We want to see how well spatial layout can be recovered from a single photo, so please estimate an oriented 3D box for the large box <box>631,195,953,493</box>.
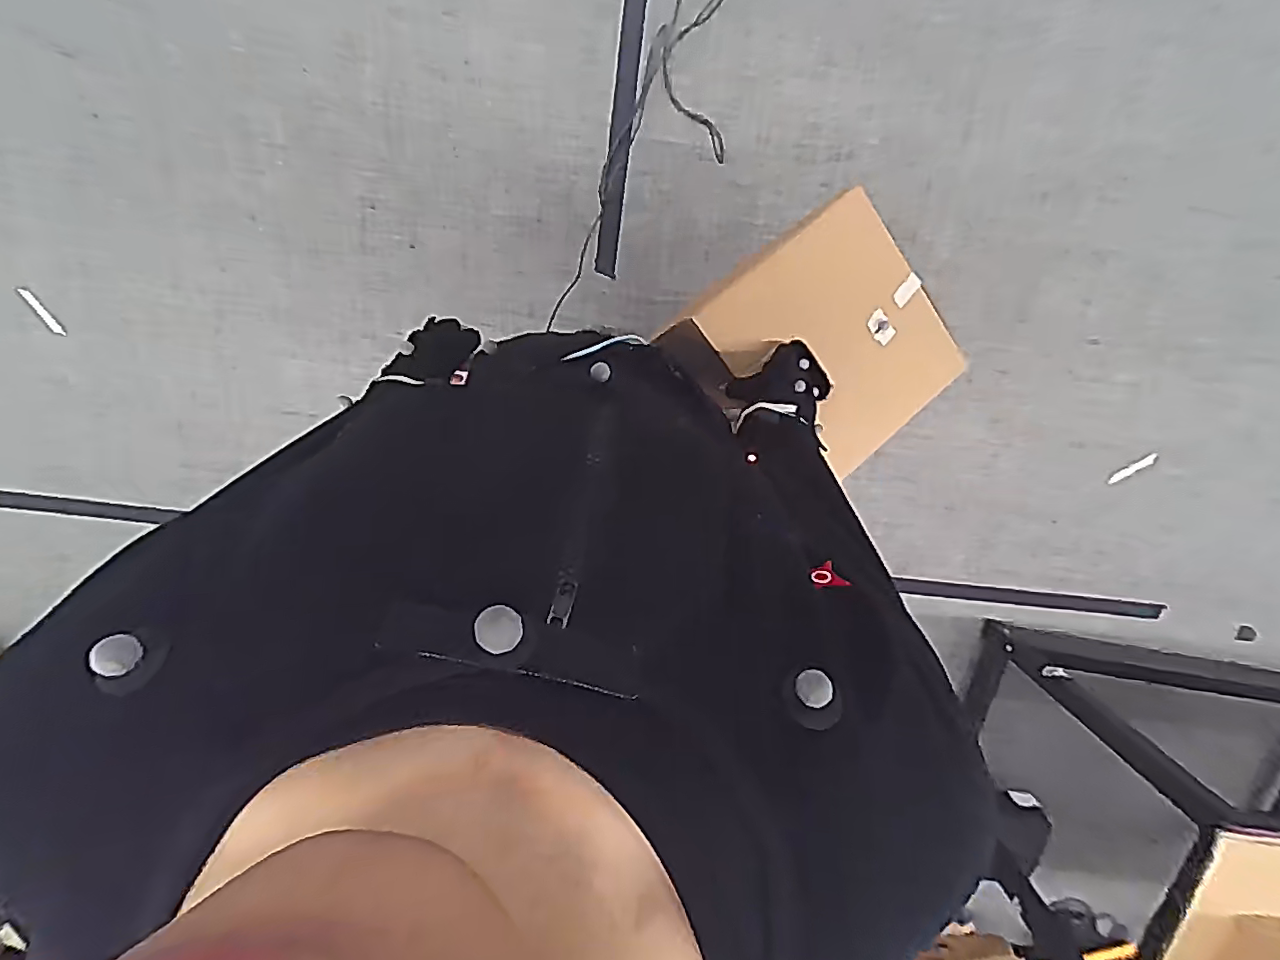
[{"bbox_3d":[0.229,-0.206,0.950,0.320,0.408,0.320,-39,102,-7],"label":"large box"}]
